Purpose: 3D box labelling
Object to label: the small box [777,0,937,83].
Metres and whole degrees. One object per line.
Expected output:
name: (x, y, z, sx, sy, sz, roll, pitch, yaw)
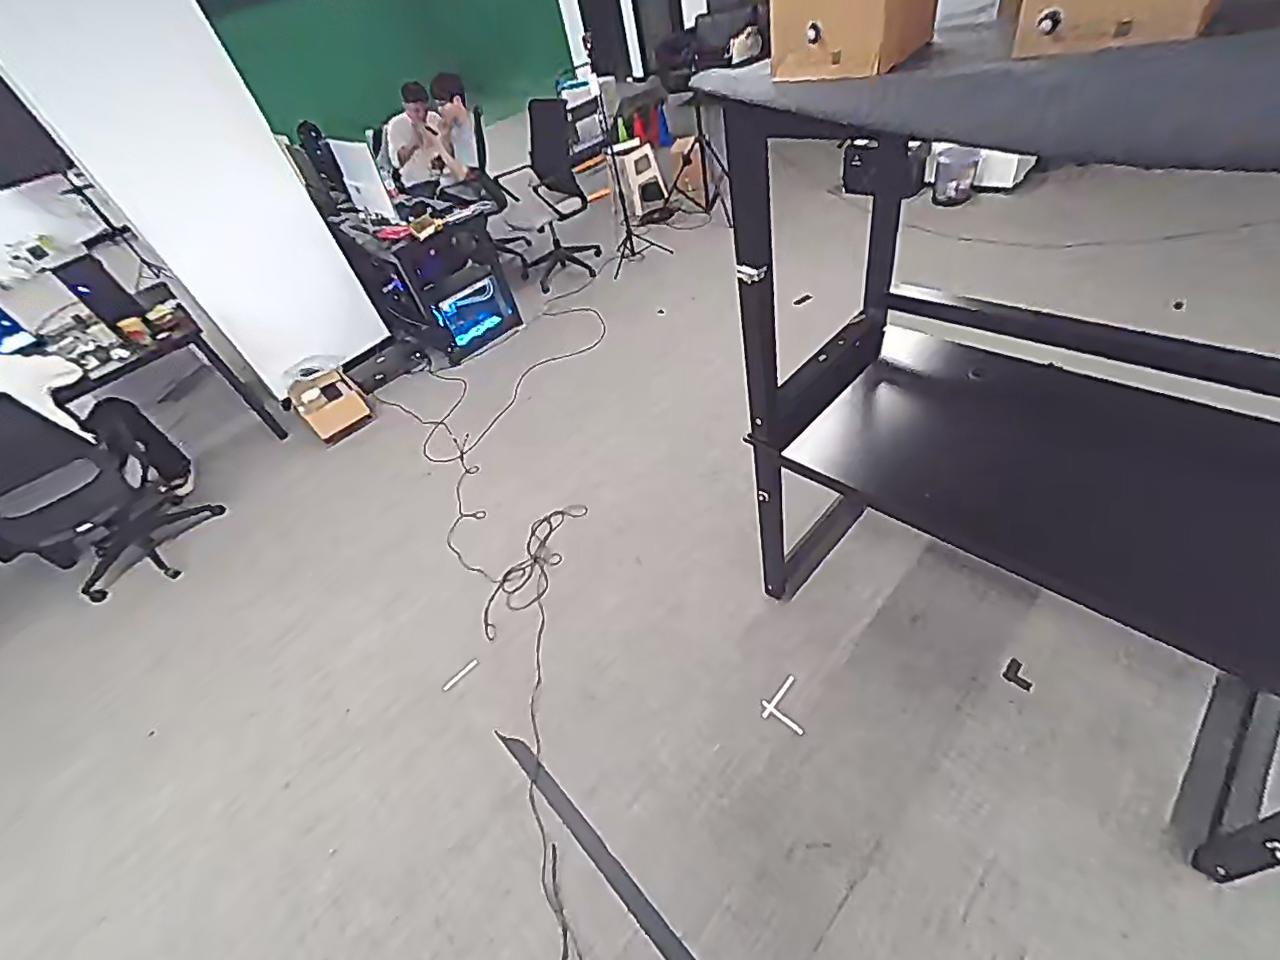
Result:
small box: (0.296, -0.667, 0.738, 0.168, 0.176, 0.179, 26, 59, 35)
